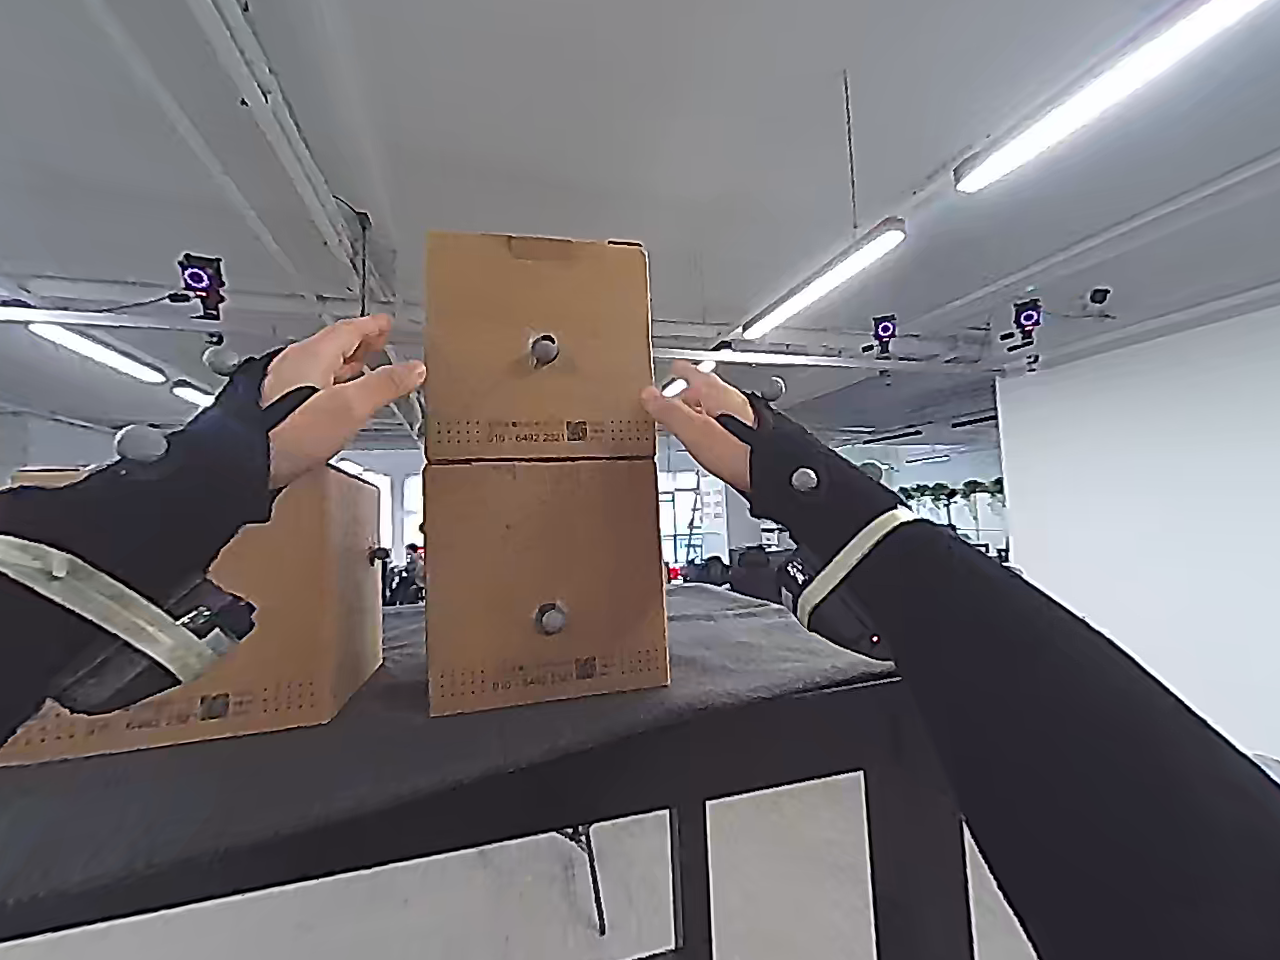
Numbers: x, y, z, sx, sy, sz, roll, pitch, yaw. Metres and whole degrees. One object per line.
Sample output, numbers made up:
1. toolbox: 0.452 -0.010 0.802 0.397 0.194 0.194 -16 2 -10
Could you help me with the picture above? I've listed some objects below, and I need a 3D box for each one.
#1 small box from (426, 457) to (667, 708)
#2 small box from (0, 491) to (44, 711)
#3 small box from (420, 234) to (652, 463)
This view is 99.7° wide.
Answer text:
1. small box: -0.082 0.077 0.458 0.168 0.176 0.179 -3 -4 -15
2. small box: -0.550 0.092 0.345 0.168 0.176 0.179 -1 -6 -14
3. small box: -0.090 -0.087 0.472 0.168 0.176 0.179 -2 -4 -14
